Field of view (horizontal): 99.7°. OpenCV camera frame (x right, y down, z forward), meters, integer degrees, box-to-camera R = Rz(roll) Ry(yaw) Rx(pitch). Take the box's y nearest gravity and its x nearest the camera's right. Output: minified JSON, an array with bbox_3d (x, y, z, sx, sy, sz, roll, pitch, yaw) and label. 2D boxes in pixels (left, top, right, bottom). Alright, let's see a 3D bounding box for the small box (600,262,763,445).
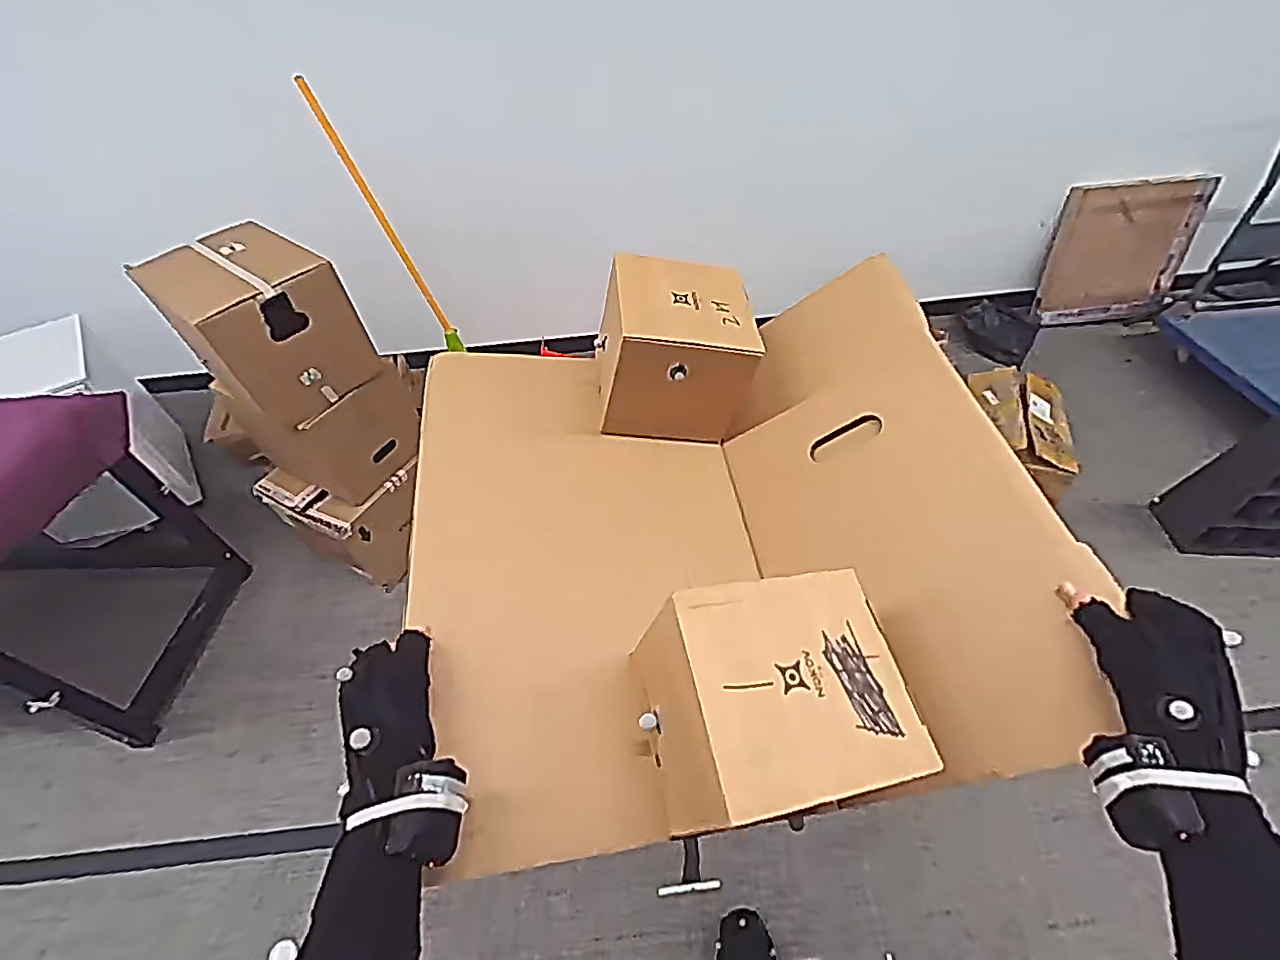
[{"bbox_3d":[0.041,-0.162,0.730,0.179,0.176,0.168,4,54,-13],"label":"small box"}]
